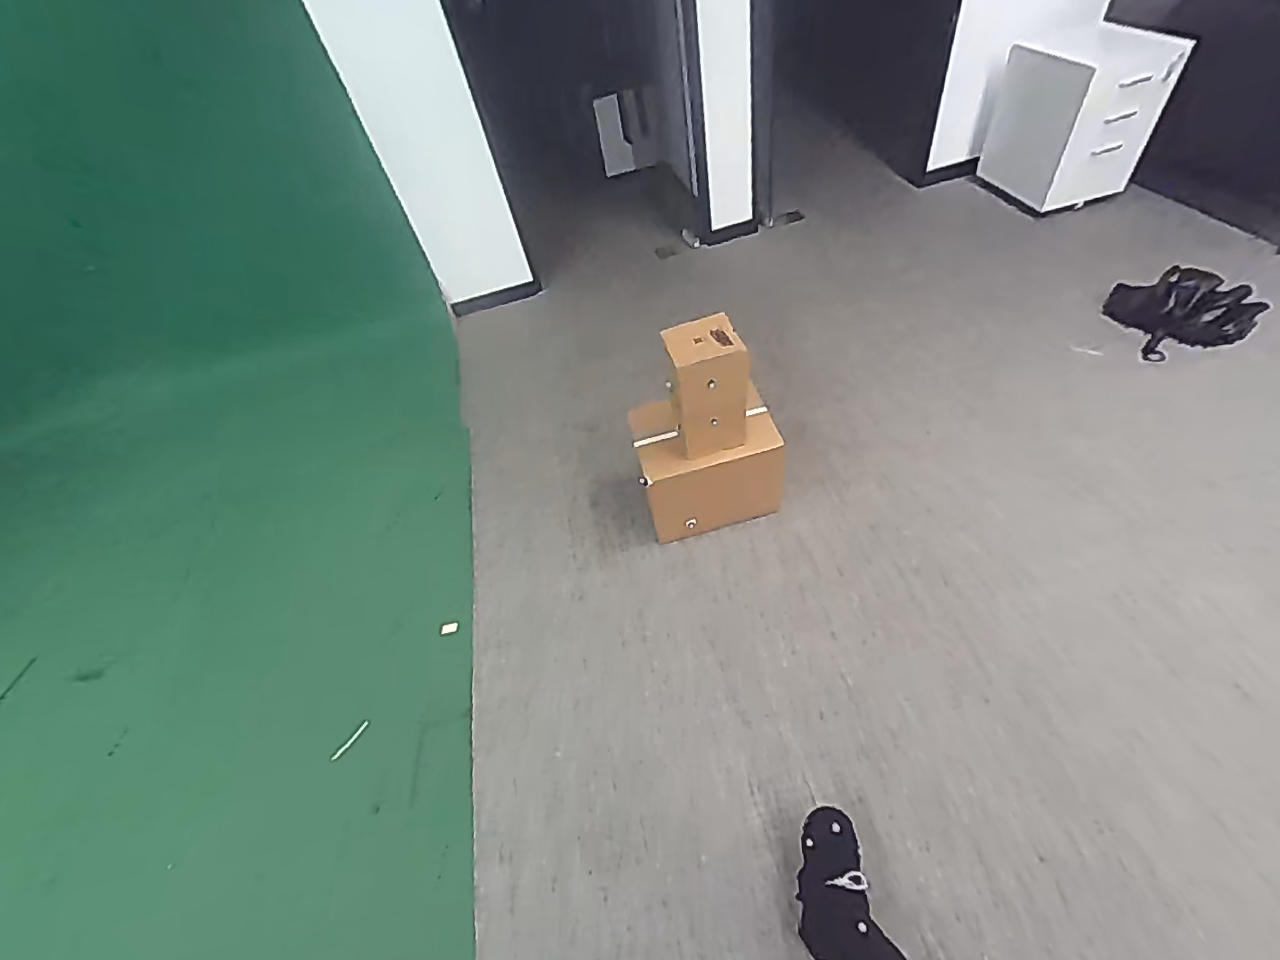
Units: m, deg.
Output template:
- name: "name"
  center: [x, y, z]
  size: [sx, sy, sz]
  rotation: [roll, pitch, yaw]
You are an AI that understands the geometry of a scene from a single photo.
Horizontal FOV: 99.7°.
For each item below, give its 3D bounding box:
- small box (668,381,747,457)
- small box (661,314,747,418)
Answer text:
- name: "small box"
  center: [0.192, -0.187, 1.508]
  size: [0.179, 0.176, 0.168]
  rotation: [-16, 50, -2]
- name: "small box"
  center: [0.167, -0.289, 1.382]
  size: [0.179, 0.176, 0.168]
  rotation: [-18, 49, 1]
